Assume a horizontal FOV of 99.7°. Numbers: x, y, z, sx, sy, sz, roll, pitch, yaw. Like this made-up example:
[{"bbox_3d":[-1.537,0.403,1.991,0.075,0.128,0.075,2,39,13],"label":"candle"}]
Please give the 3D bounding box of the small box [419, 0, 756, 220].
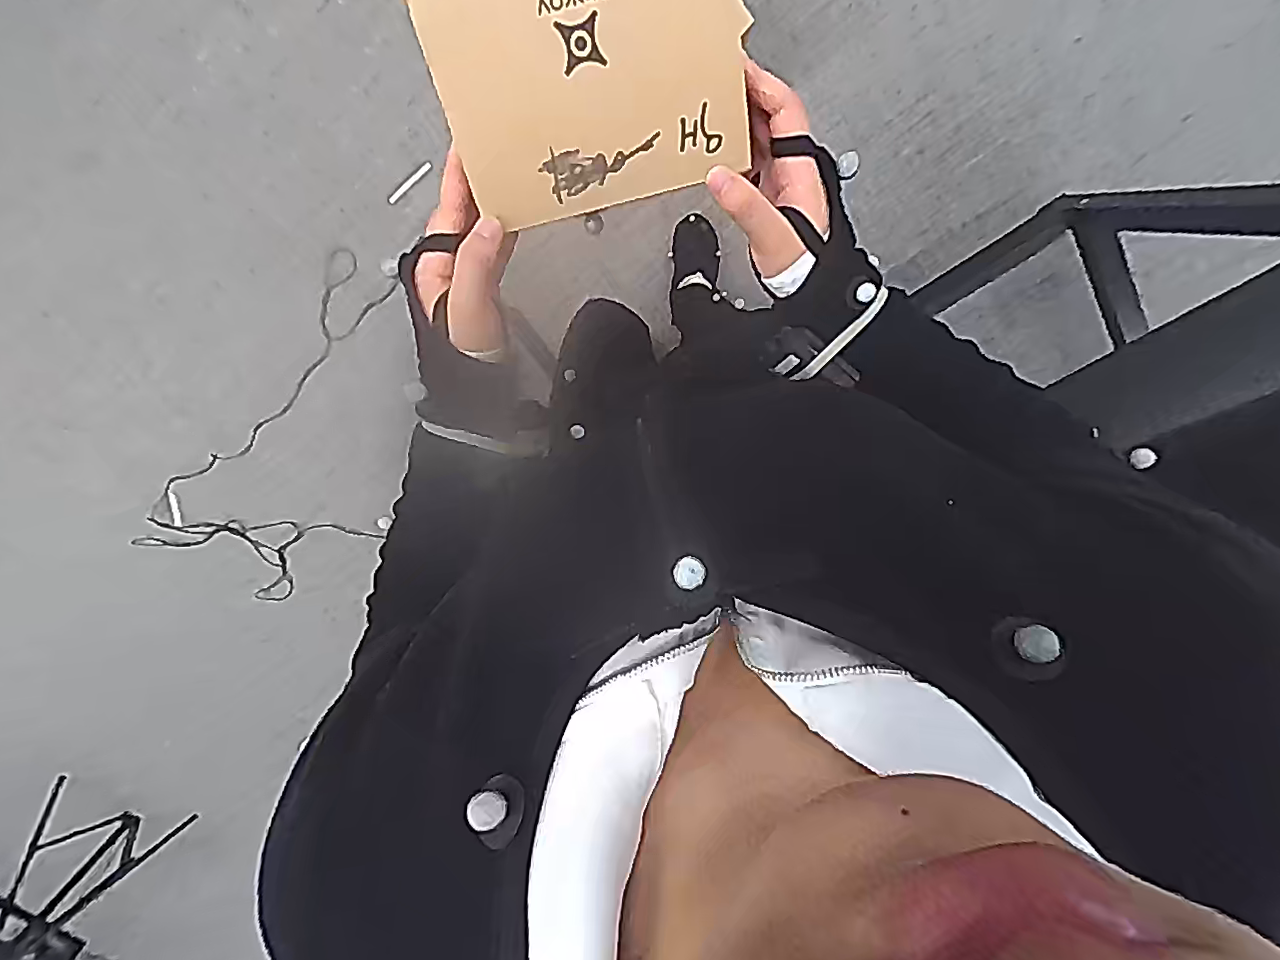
[{"bbox_3d":[-0.034,-0.283,0.345,0.168,0.176,0.179,-12,121,4],"label":"small box"}]
